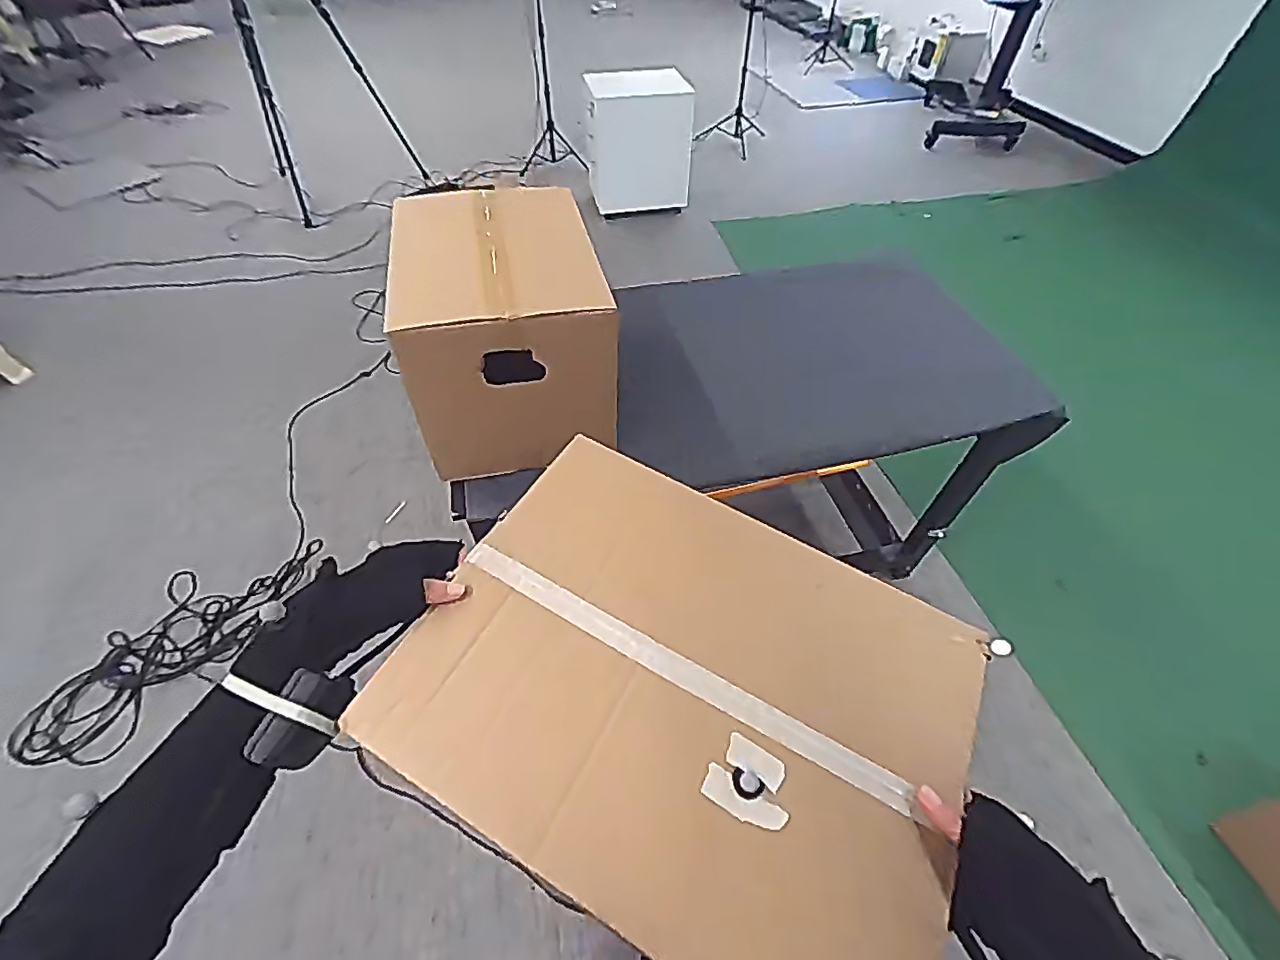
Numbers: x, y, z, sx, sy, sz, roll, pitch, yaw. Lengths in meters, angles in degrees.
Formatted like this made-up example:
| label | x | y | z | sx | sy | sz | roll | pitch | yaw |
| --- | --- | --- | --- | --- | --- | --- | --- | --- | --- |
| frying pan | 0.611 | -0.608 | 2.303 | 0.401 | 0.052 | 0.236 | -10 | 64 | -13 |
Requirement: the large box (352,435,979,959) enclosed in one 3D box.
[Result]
| label | x | y | z | sx | sy | sz | roll | pitch | yaw |
| --- | --- | --- | --- | --- | --- | --- | --- | --- | --- |
| large box | 0.028 | 0.226 | 0.536 | 0.408 | 0.320 | 0.320 | 26 | 58 | 13 |
